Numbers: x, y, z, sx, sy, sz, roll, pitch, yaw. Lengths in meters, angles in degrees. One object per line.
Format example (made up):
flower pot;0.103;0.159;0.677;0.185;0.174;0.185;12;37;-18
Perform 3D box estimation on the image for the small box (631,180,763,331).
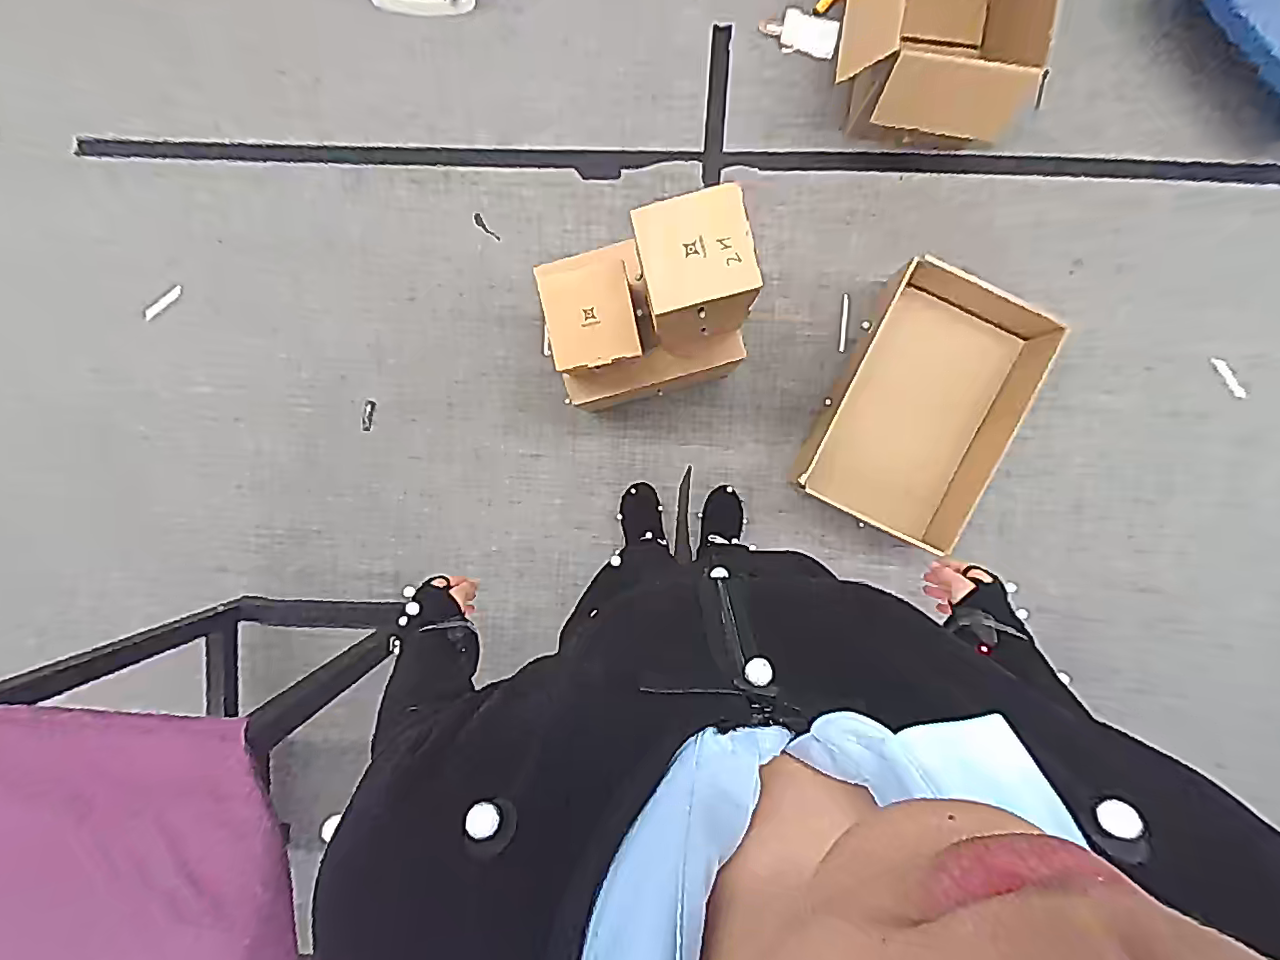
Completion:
small box;0.093;-0.361;0.905;0.179;0.176;0.168;-13;94;4
